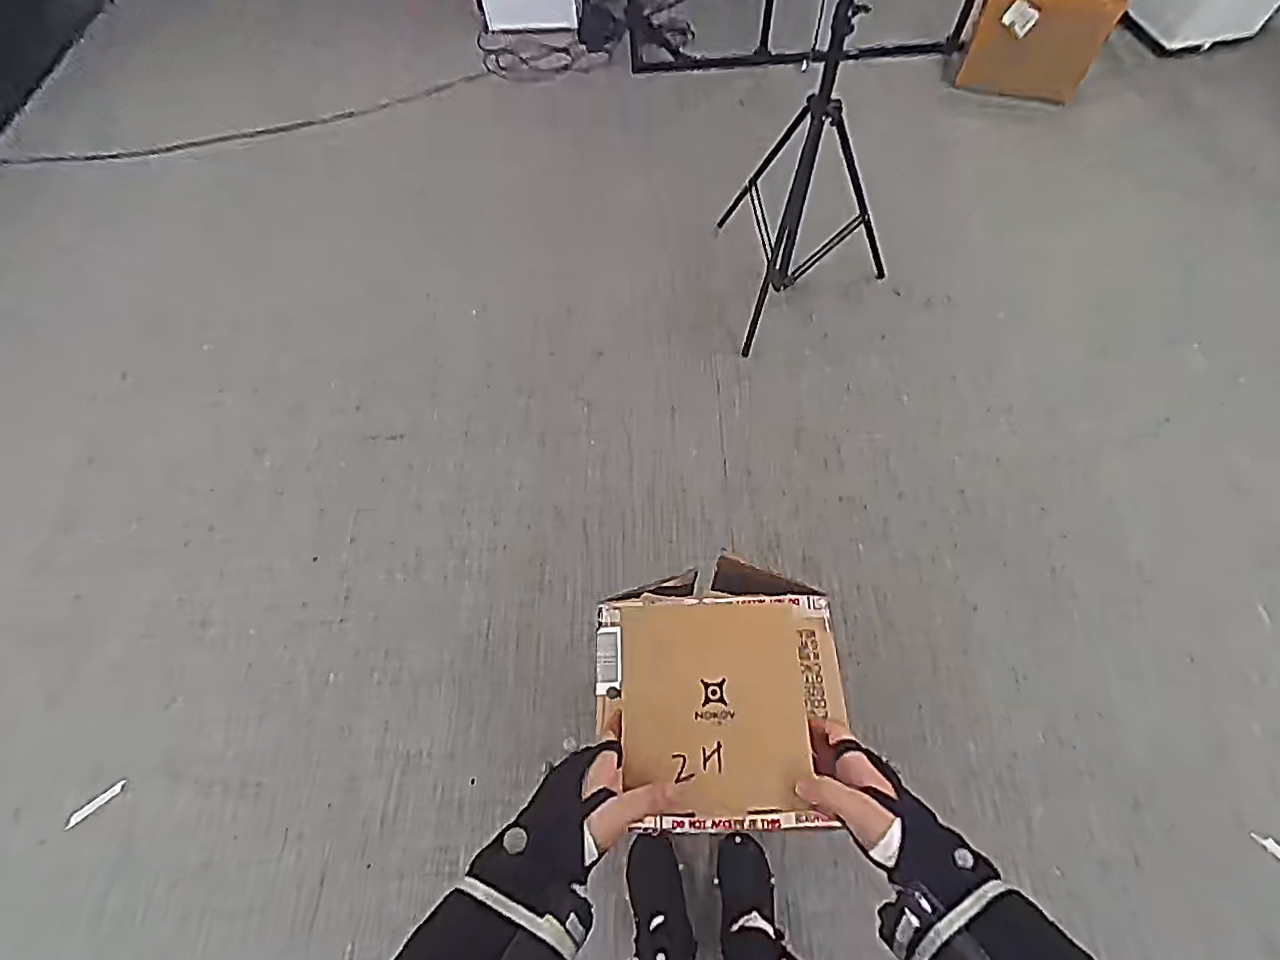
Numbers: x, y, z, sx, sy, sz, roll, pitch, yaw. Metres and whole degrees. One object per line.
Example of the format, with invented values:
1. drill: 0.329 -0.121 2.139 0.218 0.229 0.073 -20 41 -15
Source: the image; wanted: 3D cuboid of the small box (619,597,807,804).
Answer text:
1. small box: 0.060 0.226 0.570 0.168 0.176 0.179 -1 69 -1
